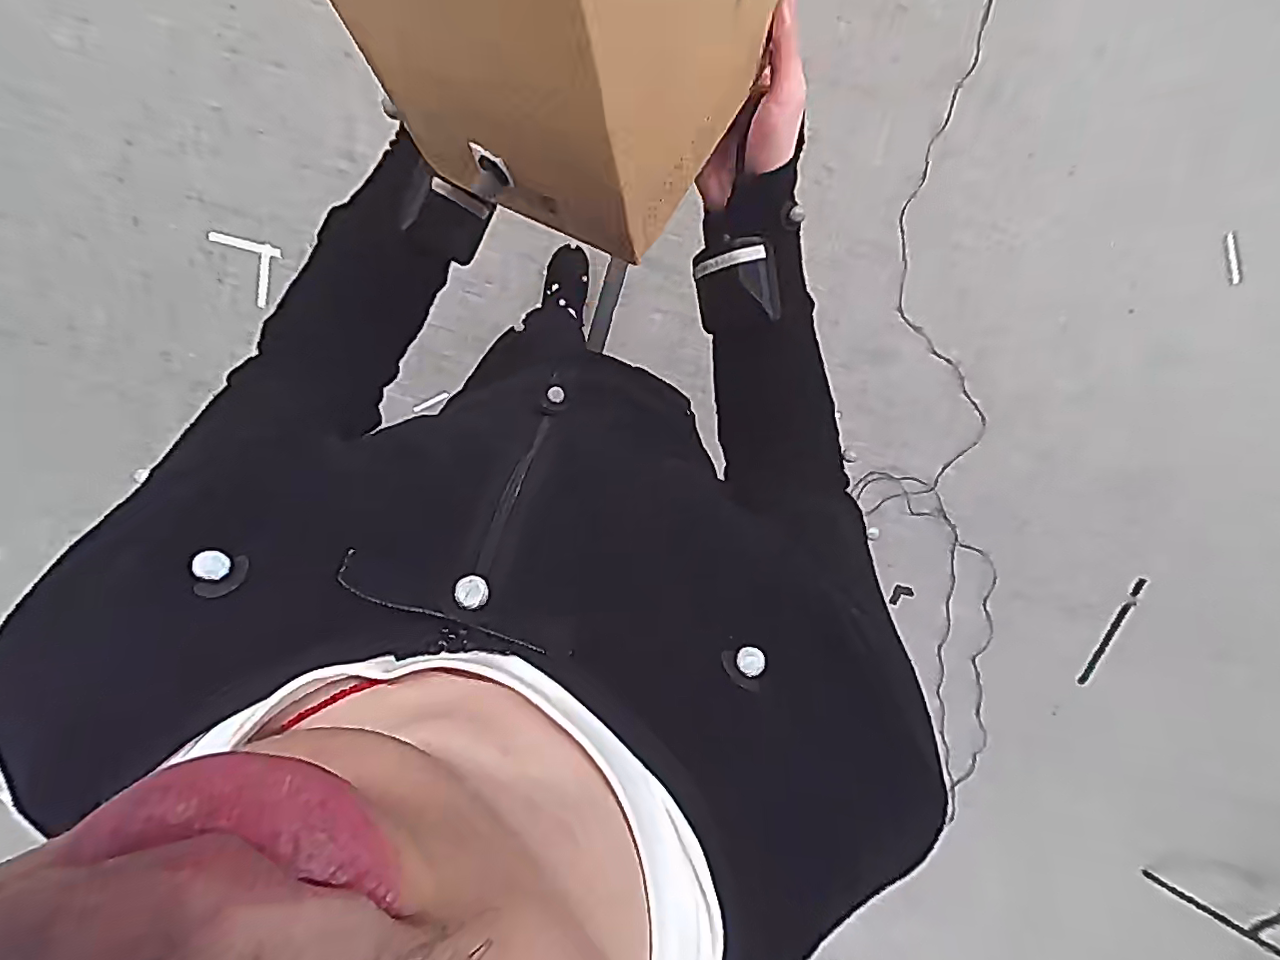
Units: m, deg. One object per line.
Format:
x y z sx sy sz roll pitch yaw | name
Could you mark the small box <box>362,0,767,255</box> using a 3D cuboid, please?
-0.034 -0.269 0.299 0.168 0.176 0.179 28 82 14 | small box
